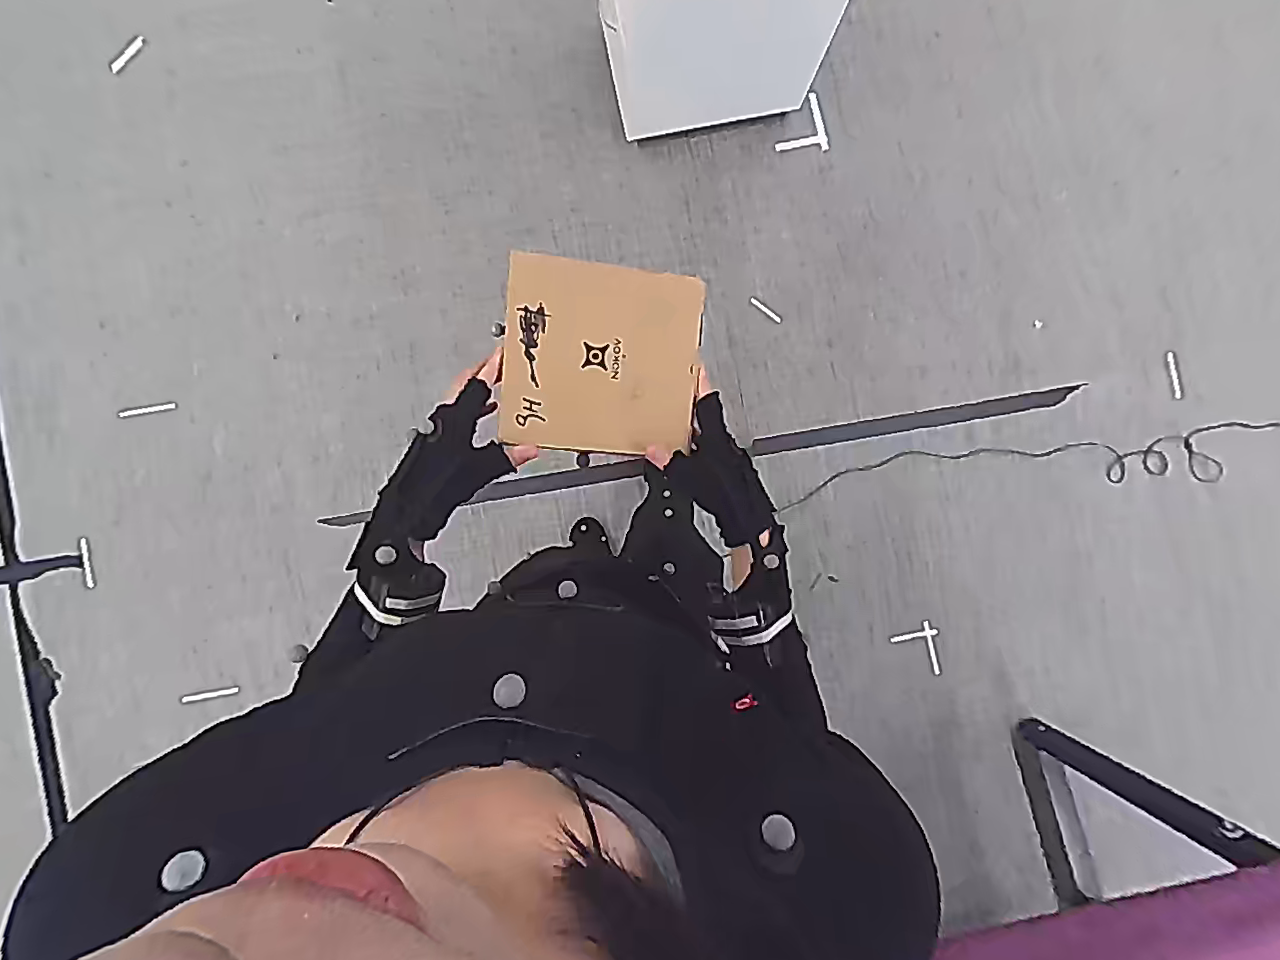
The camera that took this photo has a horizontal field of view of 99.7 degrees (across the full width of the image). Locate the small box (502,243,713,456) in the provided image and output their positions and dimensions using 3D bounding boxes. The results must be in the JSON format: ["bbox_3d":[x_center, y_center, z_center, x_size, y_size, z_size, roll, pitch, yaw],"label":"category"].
[{"bbox_3d":[-0.043,-0.116,0.551,0.179,0.176,0.168,5,92,-13],"label":"small box"}]
